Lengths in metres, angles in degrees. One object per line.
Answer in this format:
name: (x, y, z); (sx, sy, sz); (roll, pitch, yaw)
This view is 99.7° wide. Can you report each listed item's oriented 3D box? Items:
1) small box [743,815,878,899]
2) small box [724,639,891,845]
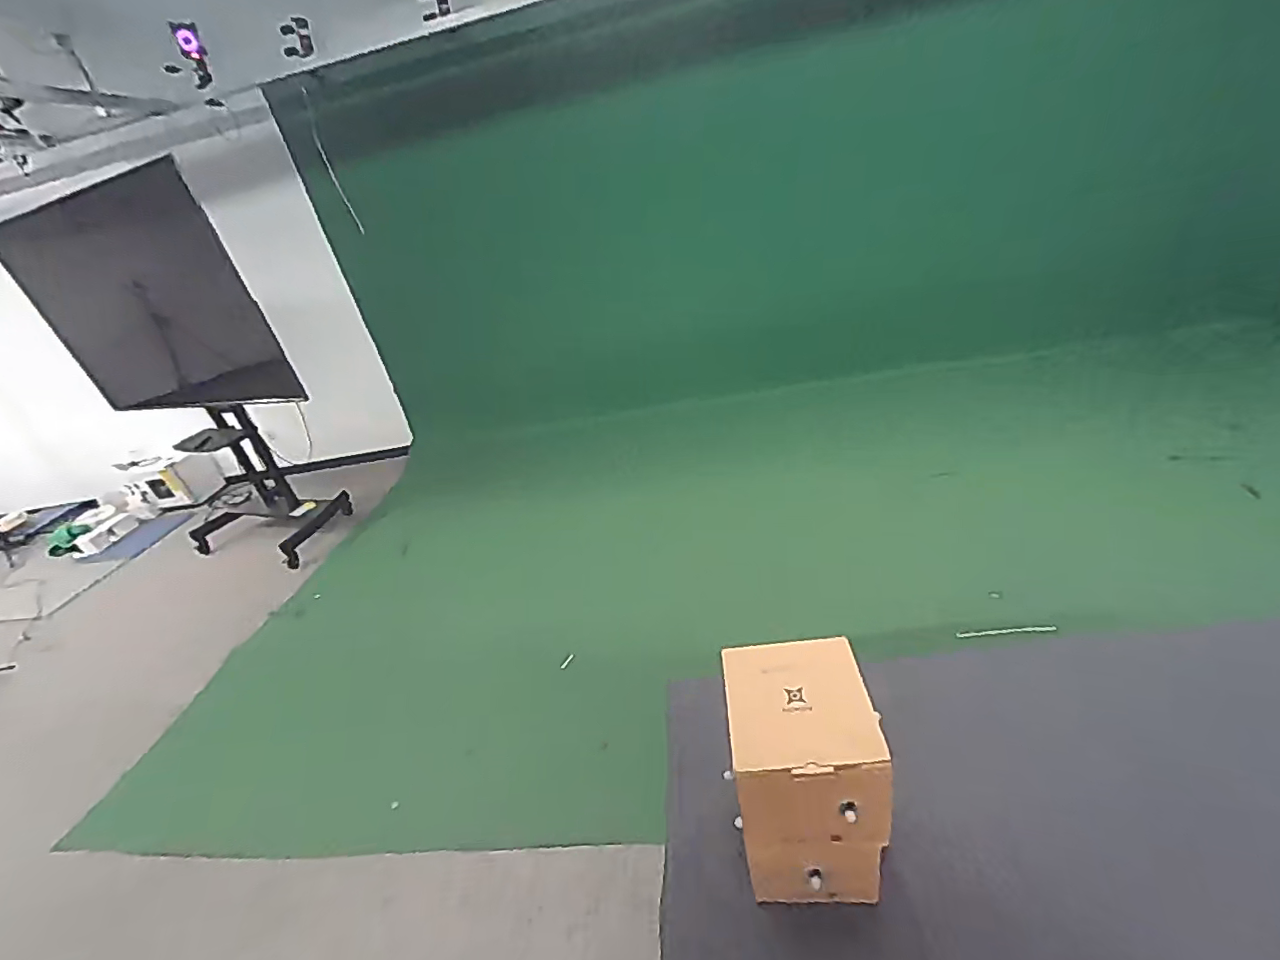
small box: (0.233, 0.462, 0.770); (0.168, 0.176, 0.179); (-7, 30, 9)
small box: (0.202, 0.330, 0.679); (0.168, 0.176, 0.179); (-7, 28, 7)
